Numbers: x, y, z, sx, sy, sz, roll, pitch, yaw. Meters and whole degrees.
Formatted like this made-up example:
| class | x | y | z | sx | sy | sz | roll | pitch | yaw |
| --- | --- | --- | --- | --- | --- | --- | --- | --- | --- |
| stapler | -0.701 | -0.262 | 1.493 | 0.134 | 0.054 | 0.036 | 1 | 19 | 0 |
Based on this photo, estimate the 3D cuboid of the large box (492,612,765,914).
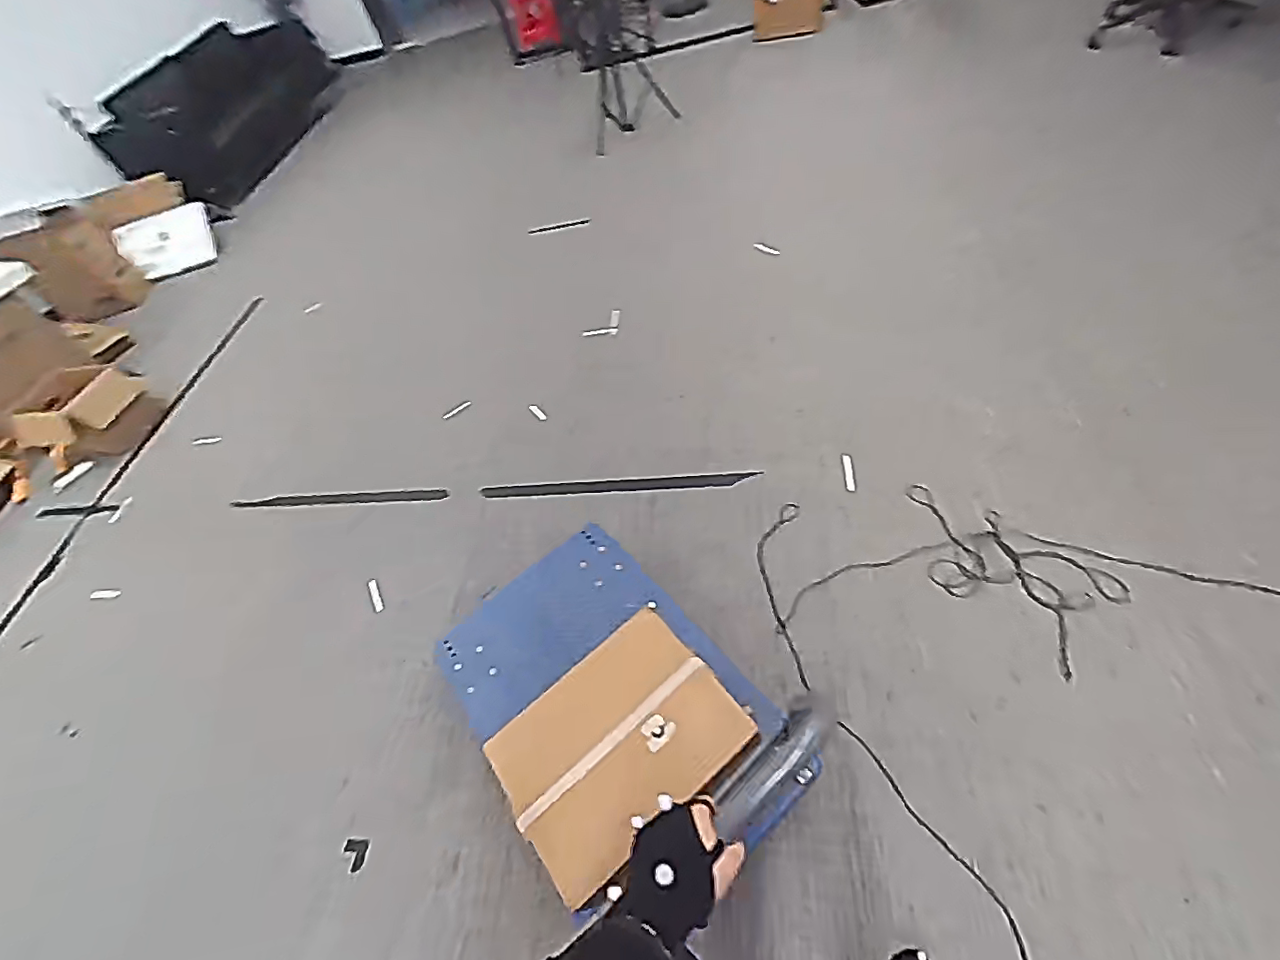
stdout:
| class | x | y | z | sx | sy | sz | roll | pitch | yaw |
| --- | --- | --- | --- | --- | --- | --- | --- | --- | --- |
| large box | -0.004 | 0.555 | 1.072 | 0.408 | 0.320 | 0.320 | -38 | 54 | -14 |
